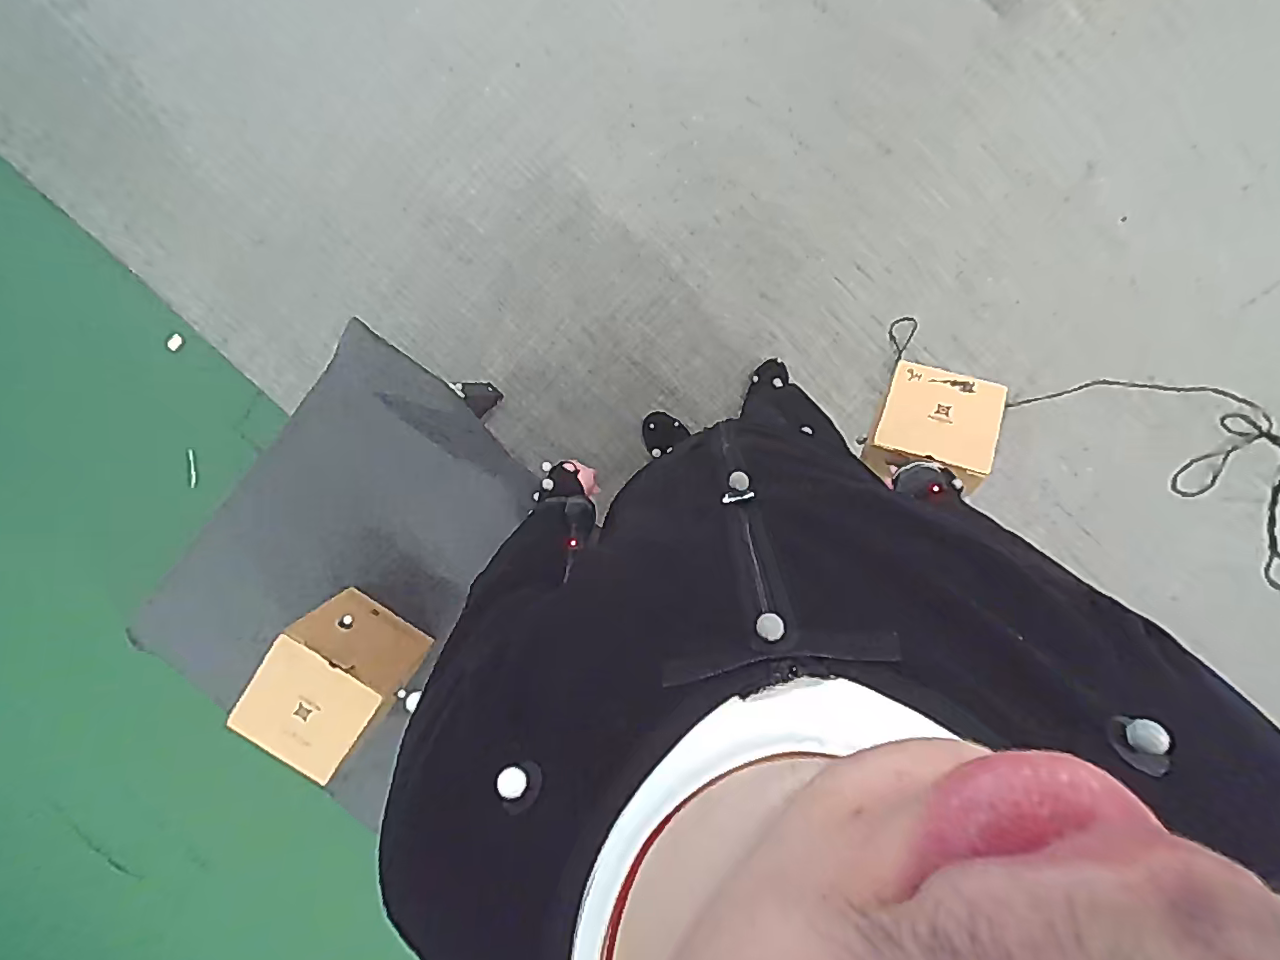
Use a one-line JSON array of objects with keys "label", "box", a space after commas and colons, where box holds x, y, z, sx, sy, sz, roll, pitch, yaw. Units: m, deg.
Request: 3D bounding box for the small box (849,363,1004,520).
[{"label": "small box", "box": [0.465, -0.058, 0.901, 0.168, 0.176, 0.179, 22, 66, 16]}]

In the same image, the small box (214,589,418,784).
[{"label": "small box", "box": [-0.463, 0.292, 0.805, 0.168, 0.176, 0.179, 35, 99, -2]}]
